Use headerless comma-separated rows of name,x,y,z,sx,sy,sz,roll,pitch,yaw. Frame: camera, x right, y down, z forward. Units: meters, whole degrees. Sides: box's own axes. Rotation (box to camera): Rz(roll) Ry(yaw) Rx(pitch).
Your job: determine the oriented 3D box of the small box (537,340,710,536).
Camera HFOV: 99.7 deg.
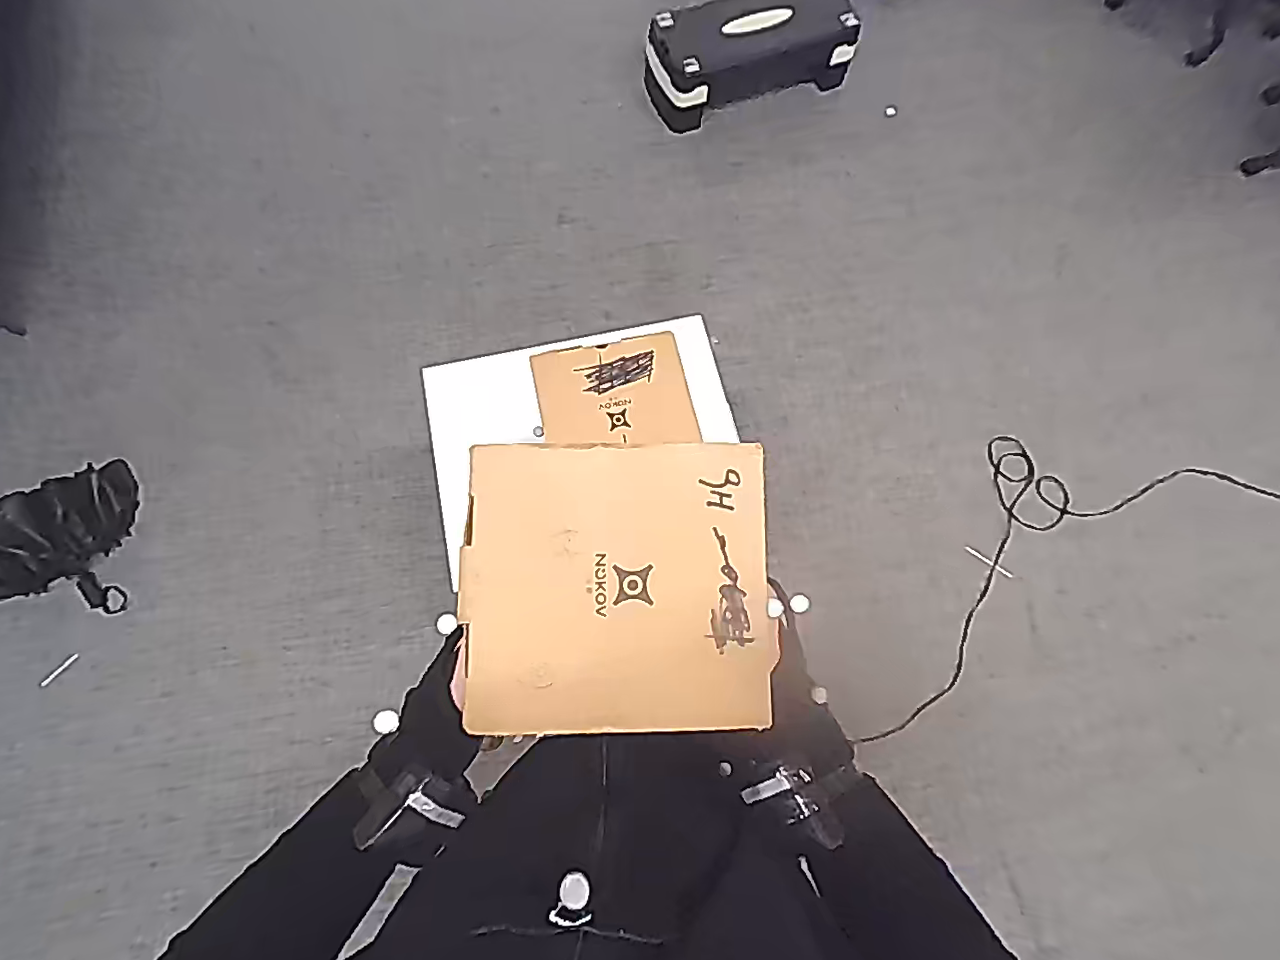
small box,-0.025,-0.043,0.664,0.168,0.176,0.179,-11,75,-5
